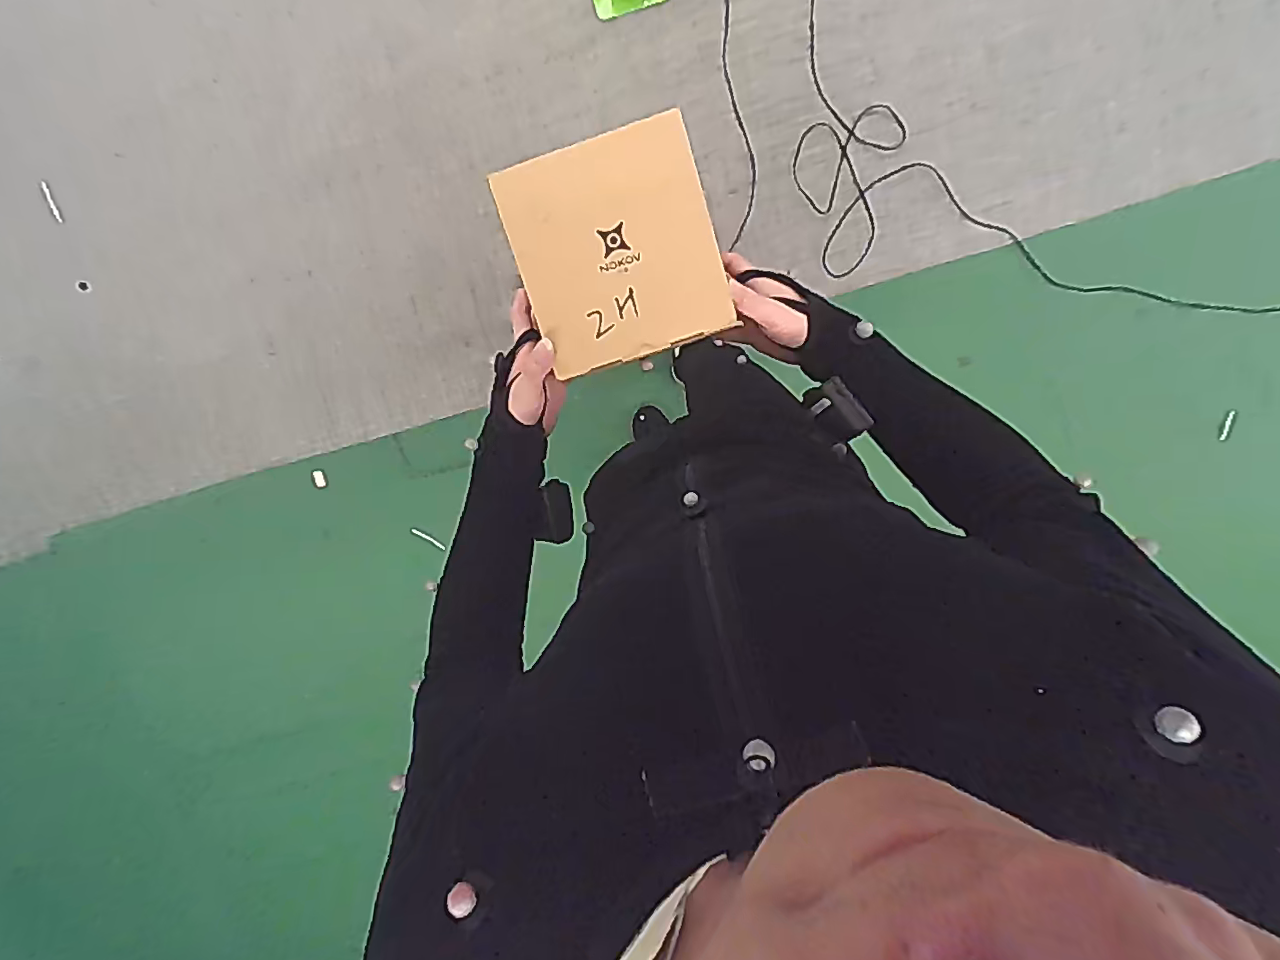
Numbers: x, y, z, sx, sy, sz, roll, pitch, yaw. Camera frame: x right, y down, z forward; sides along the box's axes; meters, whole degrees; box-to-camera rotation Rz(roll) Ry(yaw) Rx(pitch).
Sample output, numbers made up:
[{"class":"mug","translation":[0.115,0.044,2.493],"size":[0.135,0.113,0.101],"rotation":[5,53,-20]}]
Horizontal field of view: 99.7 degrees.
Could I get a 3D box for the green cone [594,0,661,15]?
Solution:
[{"class":"green cone","translation":[-0.034,-1.281,1.211],"size":[0.202,0.368,0.200],"rotation":[-15,101,3]}]
